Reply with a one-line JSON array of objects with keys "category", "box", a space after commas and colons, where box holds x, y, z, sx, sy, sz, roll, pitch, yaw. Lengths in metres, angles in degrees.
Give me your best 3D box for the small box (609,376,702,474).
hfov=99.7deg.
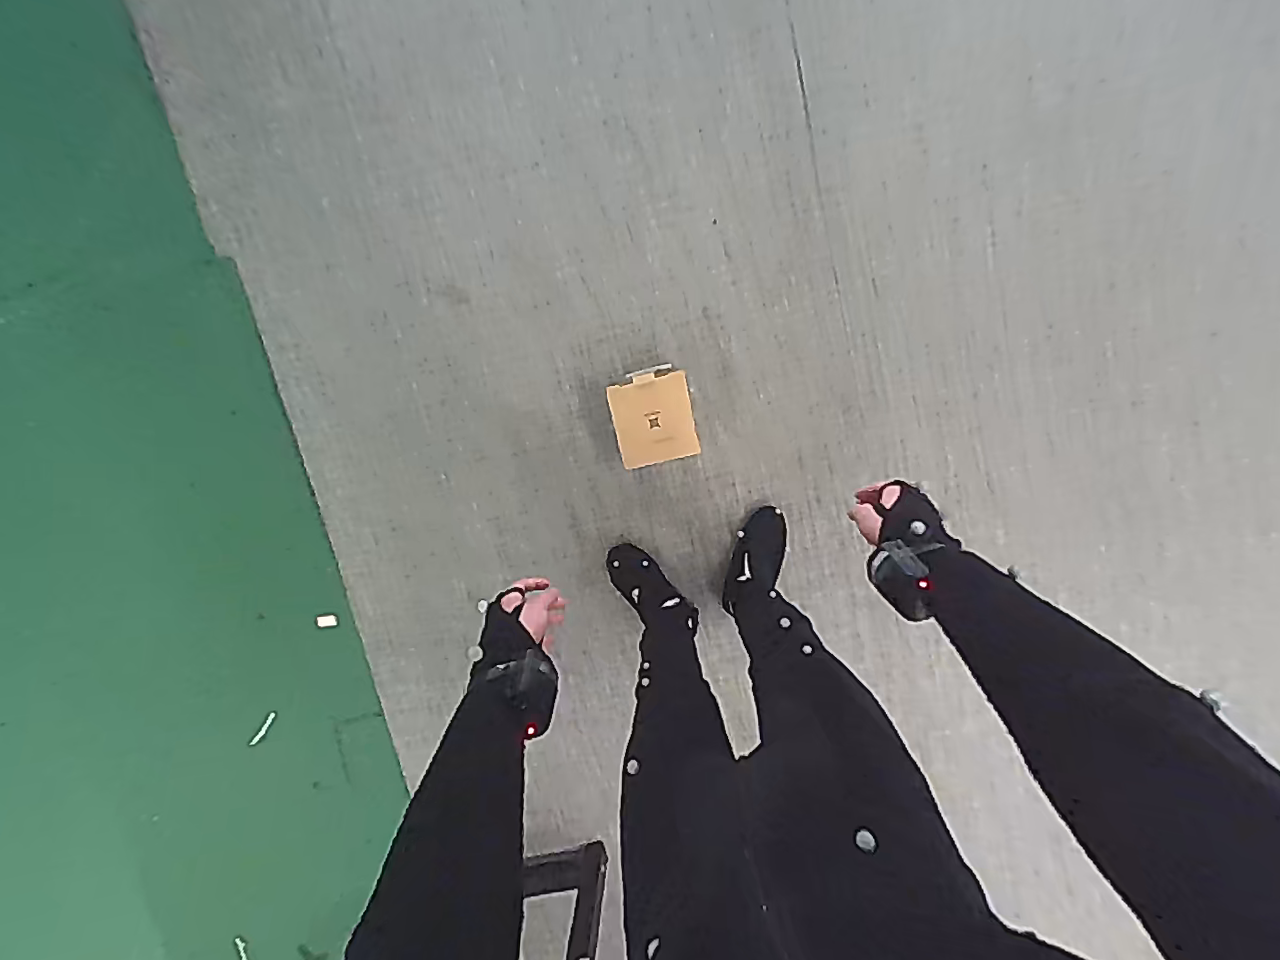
[{"category": "small box", "box": [0.037, -0.121, 1.168, 0.168, 0.176, 0.179, -10, 98, 7]}]
